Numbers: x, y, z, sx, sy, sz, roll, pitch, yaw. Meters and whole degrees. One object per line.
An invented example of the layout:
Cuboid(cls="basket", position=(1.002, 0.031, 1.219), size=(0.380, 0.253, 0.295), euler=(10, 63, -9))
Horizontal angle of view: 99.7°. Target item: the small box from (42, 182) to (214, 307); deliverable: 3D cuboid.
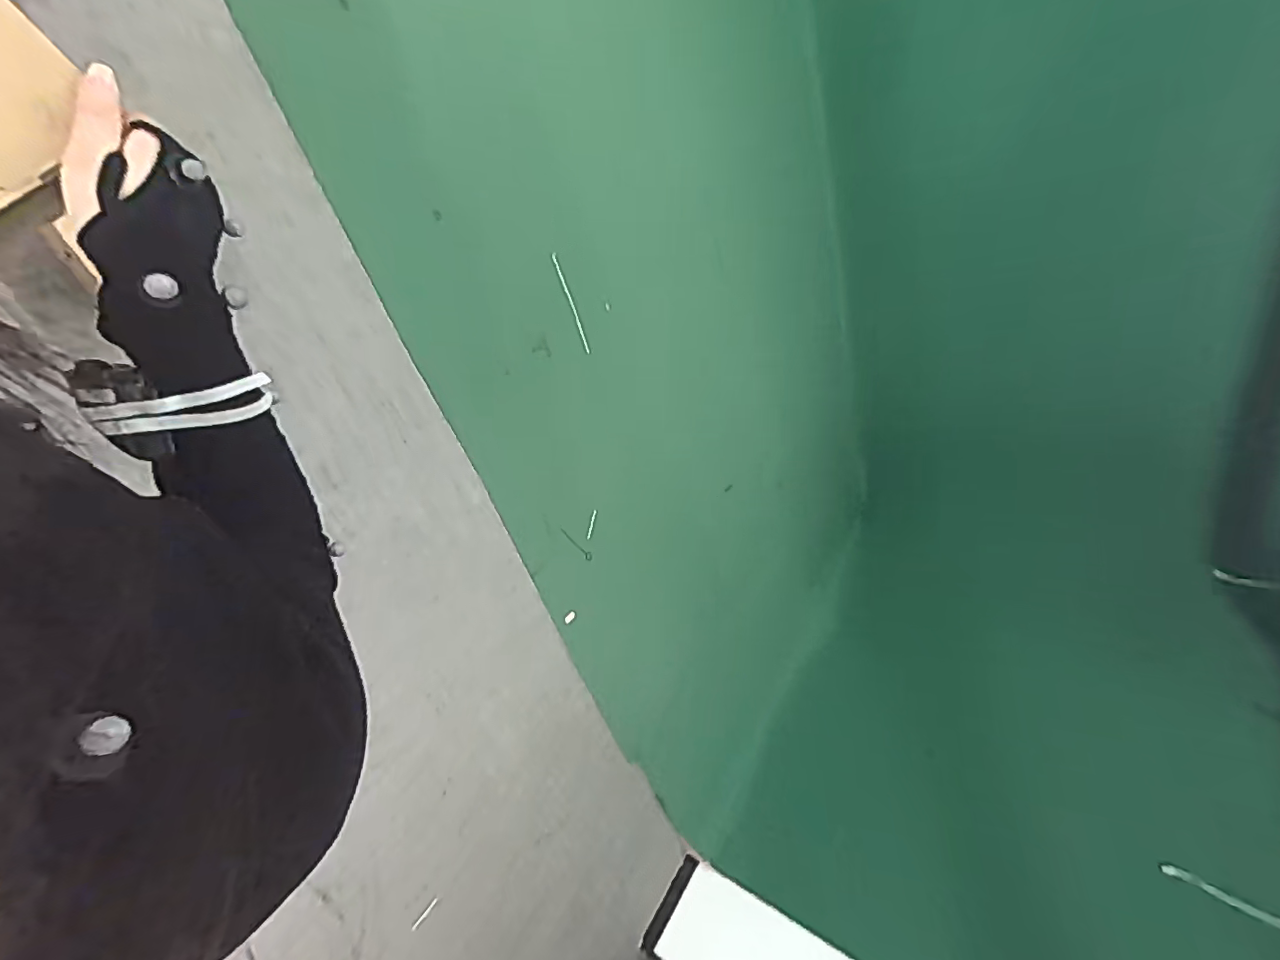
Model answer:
Cuboid(cls="small box", position=(-0.983, -0.447, 1.042), size=(0.179, 0.176, 0.168), euler=(-46, 128, -36))
